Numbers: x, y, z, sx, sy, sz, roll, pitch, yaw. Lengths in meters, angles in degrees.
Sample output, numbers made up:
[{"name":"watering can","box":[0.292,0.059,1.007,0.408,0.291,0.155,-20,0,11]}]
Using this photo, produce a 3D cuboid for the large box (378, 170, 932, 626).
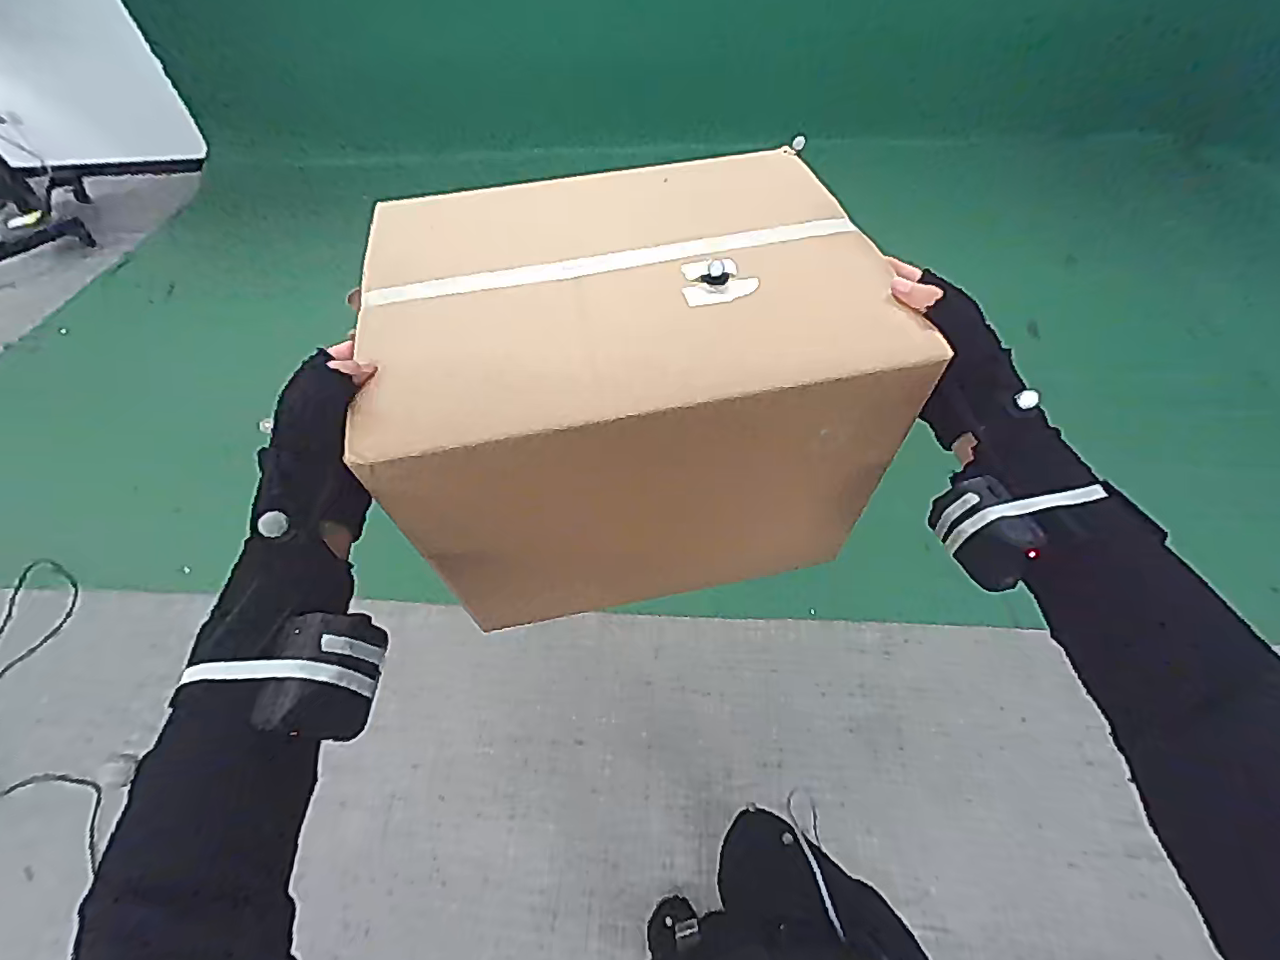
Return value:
[{"name":"large box","box":[-0.008,-0.080,0.576,0.408,0.320,0.320,-10,56,-6]}]
